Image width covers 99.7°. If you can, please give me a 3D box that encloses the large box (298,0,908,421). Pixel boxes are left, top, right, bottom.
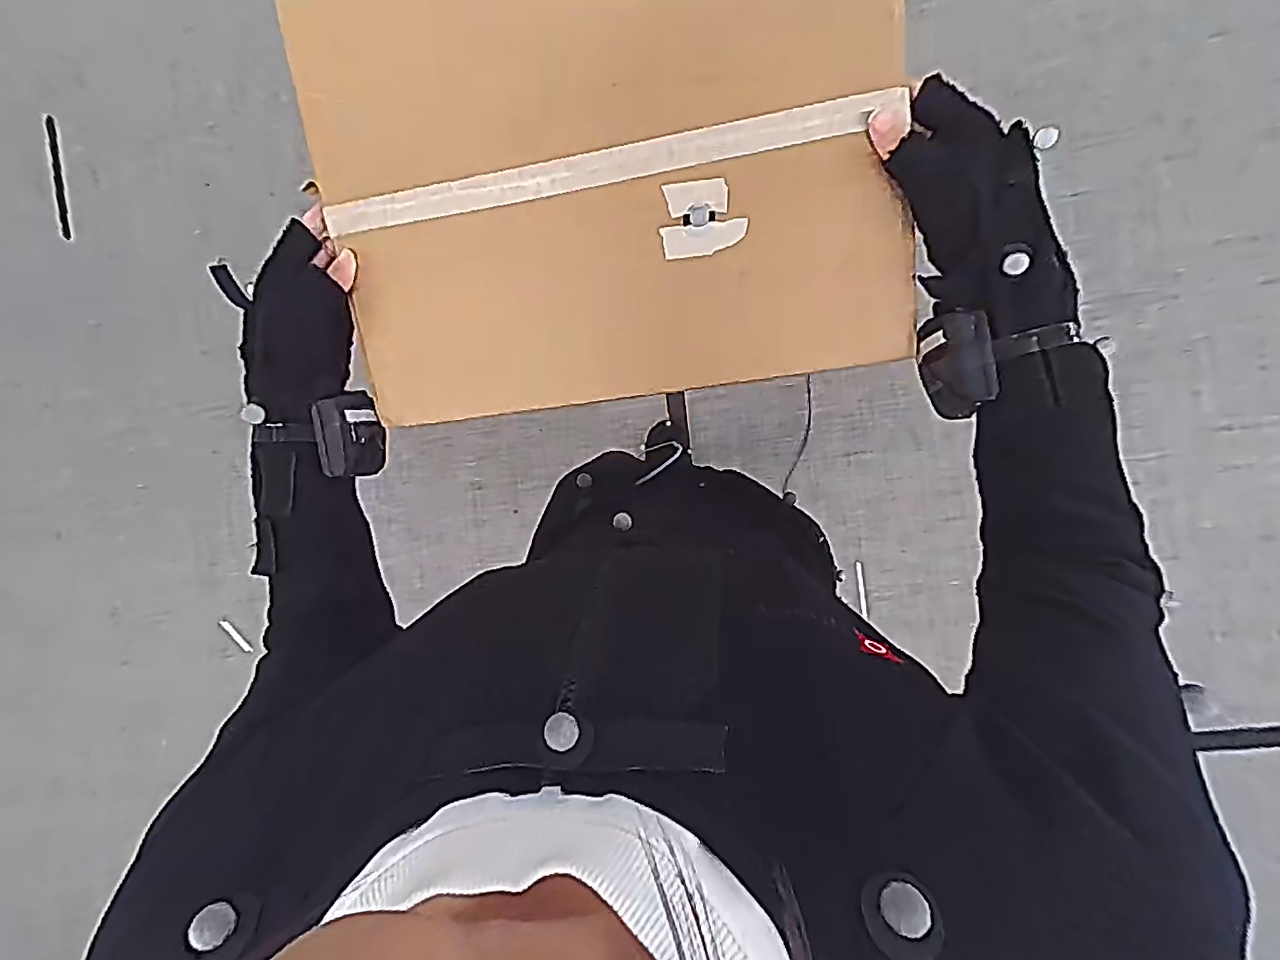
[{"bbox_3d":[-0.012,-0.254,0.528,0.408,0.320,0.320,-7,103,8],"label":"large box"}]
